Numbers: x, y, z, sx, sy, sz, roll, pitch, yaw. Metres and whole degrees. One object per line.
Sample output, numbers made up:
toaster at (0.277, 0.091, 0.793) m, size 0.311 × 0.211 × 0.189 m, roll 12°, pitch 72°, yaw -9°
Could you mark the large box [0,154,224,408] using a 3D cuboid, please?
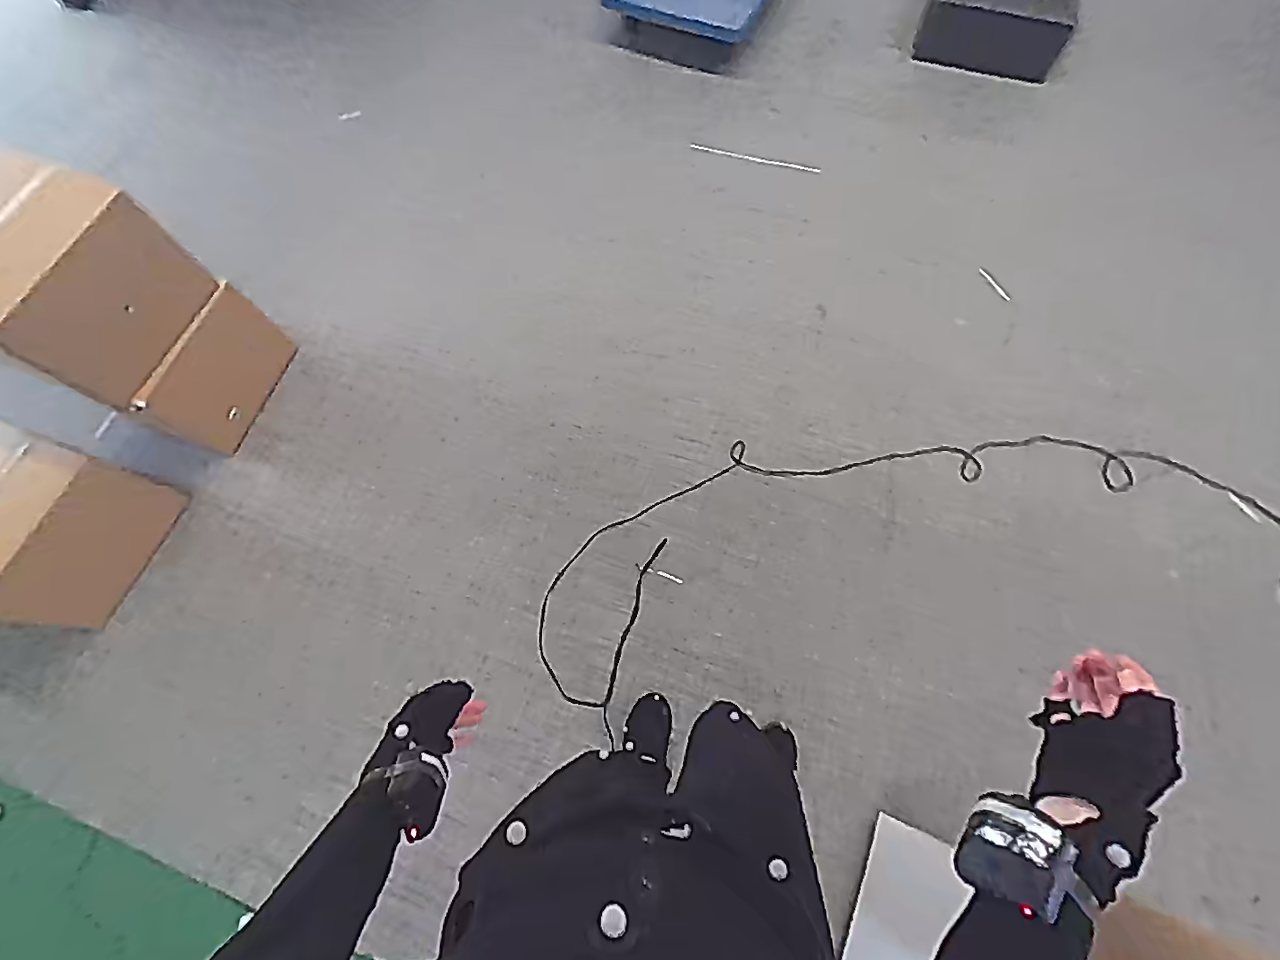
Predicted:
large box at (-1.308, -0.447, 1.259) m, size 0.320 × 0.320 × 0.408 m, roll 20°, pitch 72°, yaw 5°
